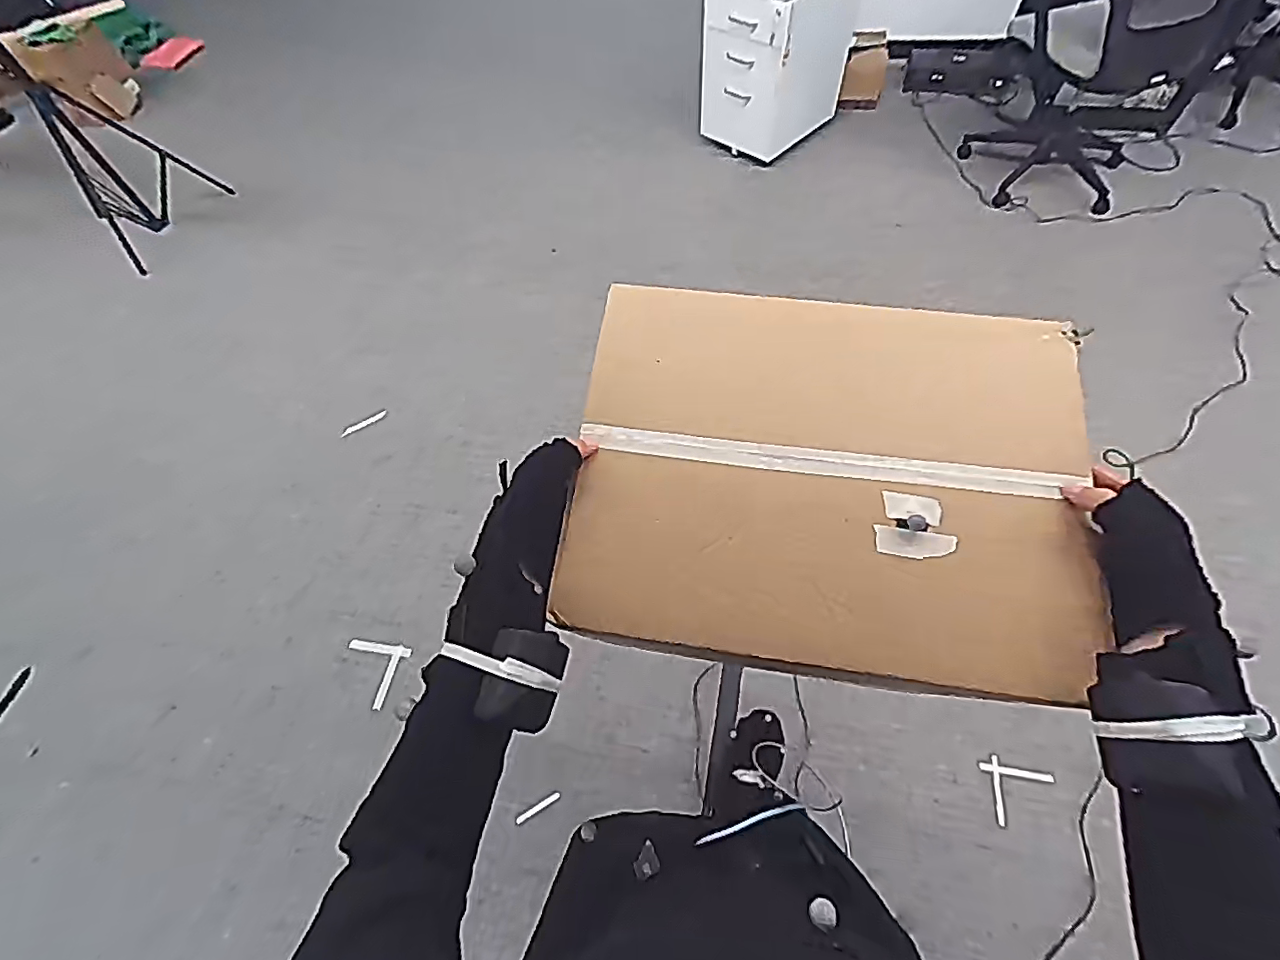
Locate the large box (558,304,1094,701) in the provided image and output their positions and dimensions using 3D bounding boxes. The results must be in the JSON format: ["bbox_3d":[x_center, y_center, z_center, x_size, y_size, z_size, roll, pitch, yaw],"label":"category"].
[{"bbox_3d":[0.155,0.043,0.590,0.408,0.320,0.320,7,73,5],"label":"large box"}]
